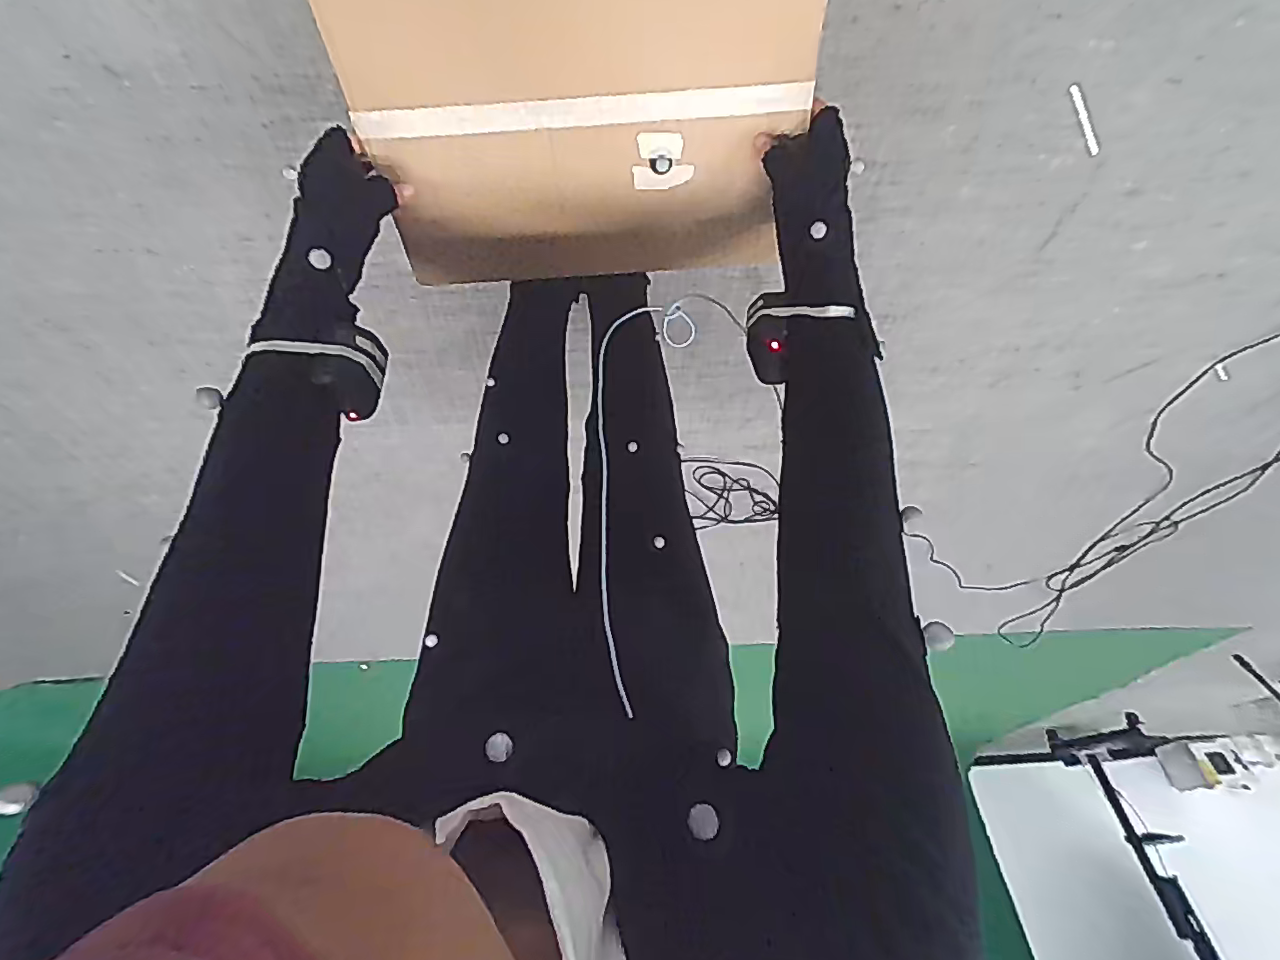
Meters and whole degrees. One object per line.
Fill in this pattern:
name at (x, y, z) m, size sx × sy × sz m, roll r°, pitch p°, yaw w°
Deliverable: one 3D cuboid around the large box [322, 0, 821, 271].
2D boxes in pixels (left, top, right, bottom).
large box at (-0.060, -0.457, 0.575) m, size 0.408 × 0.320 × 0.320 m, roll -5°, pitch 141°, yaw -1°
